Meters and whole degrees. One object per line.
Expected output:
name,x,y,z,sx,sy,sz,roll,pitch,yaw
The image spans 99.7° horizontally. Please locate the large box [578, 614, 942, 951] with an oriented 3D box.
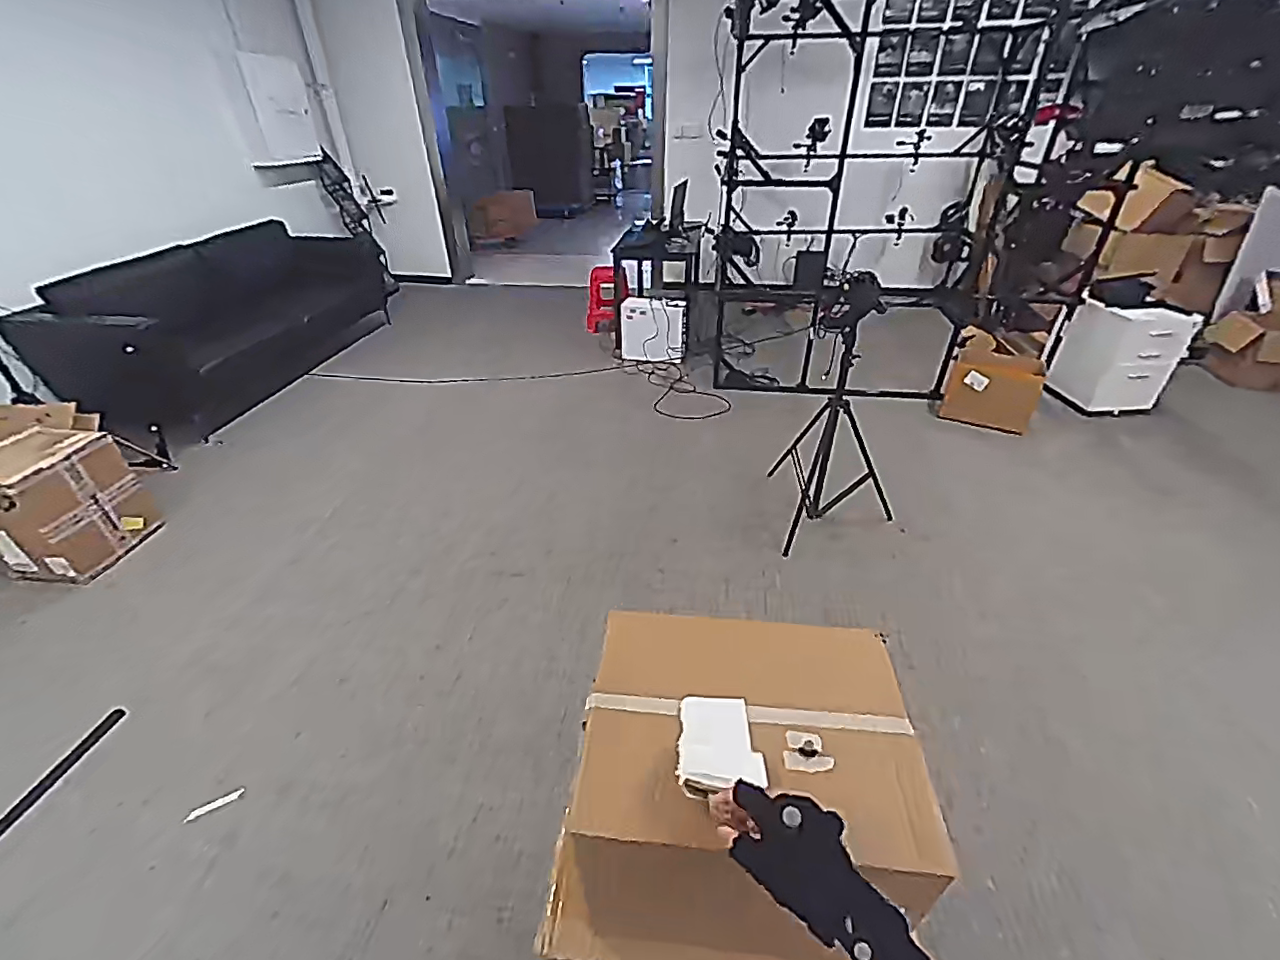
large box,0.137,0.426,0.791,0.408,0.320,0.320,3,35,5
